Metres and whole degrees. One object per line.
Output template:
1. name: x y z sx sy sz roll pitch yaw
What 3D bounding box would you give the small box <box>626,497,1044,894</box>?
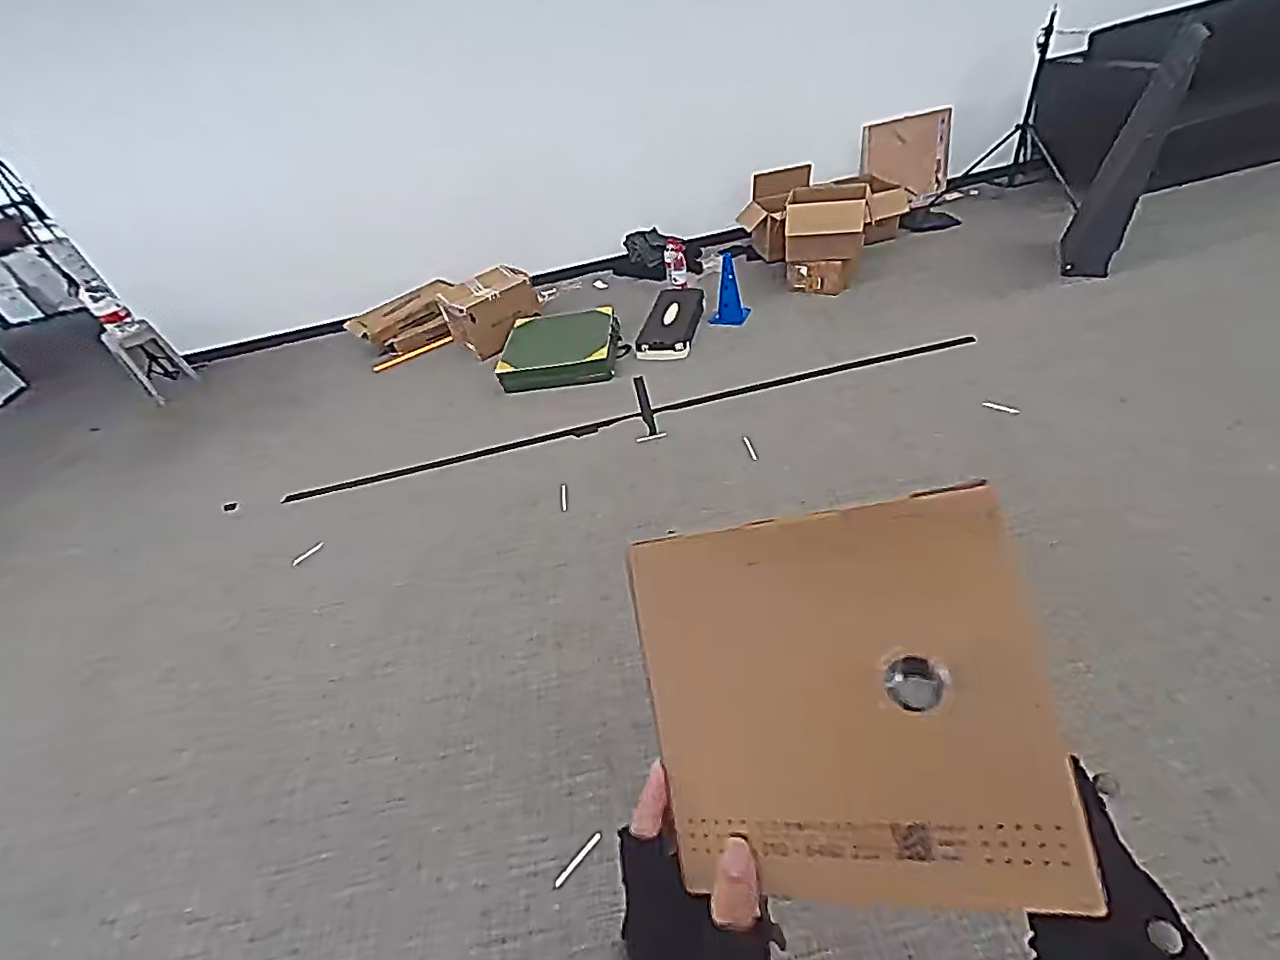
1. small box: 0.113 0.111 0.332 0.168 0.179 0.176 -13 83 23
